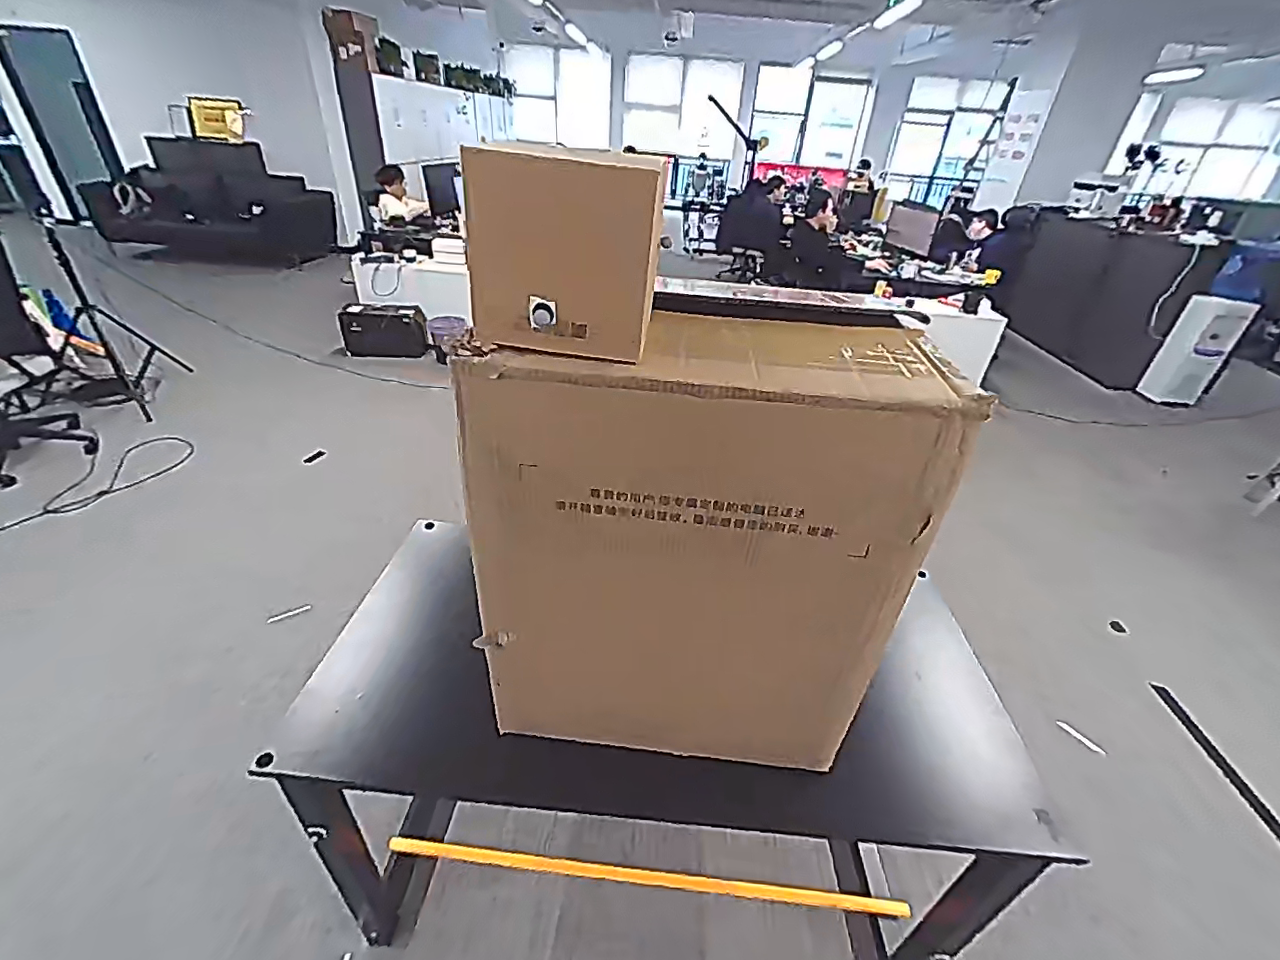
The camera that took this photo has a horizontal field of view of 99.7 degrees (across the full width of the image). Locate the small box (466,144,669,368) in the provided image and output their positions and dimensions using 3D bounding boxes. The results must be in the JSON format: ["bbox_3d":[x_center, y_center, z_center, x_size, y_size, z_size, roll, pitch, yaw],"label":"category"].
[{"bbox_3d":[-0.065,-0.232,0.551,0.168,0.176,0.179,6,35,0],"label":"small box"}]
